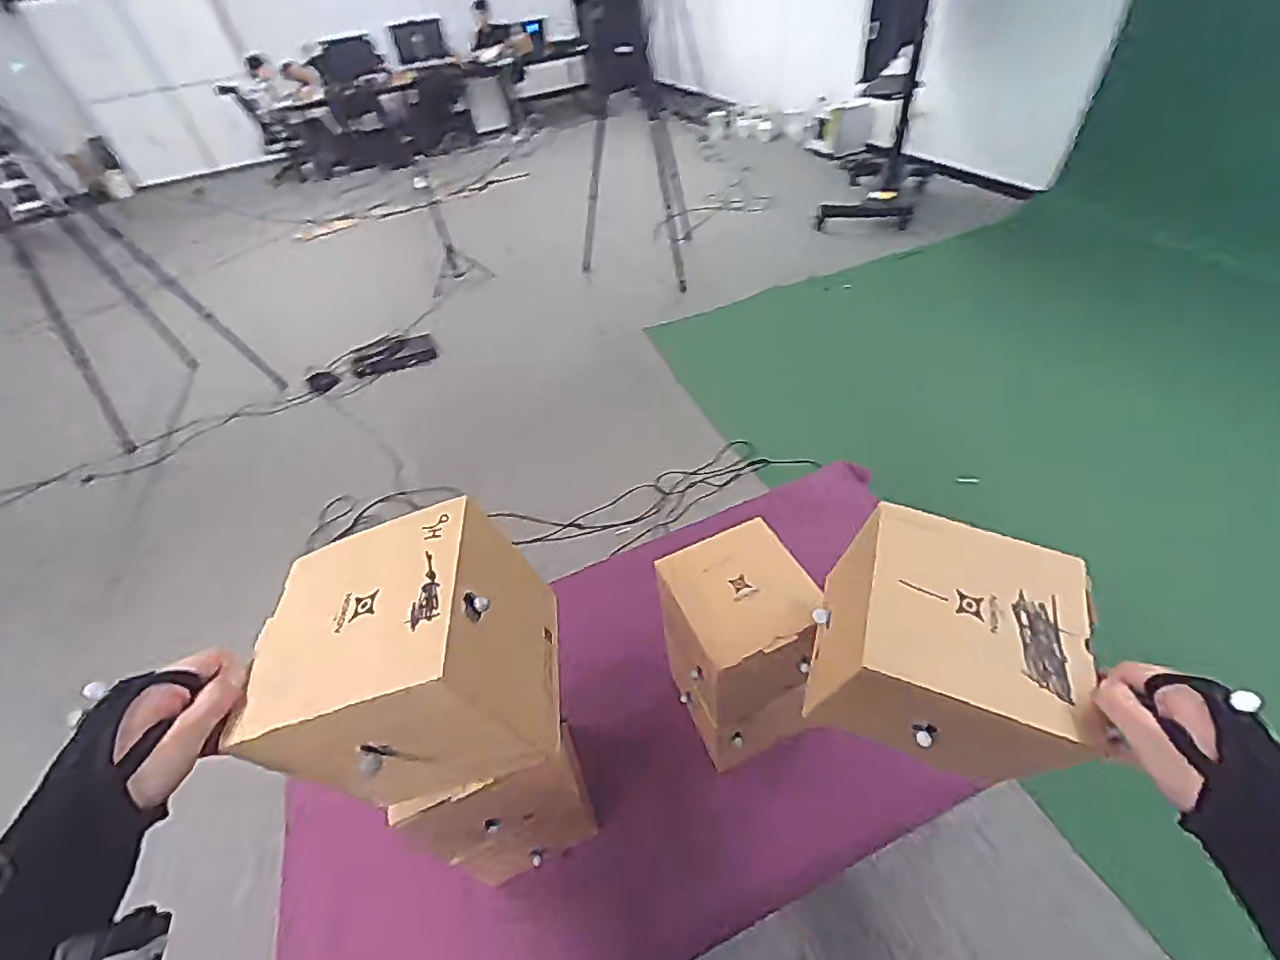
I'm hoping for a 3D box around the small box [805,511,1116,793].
[{"bbox_3d":[0.271,0.162,0.491,0.179,0.176,0.168,19,55,12],"label":"small box"}]

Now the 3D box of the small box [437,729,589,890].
[{"bbox_3d":[-0.183,0.432,0.760,0.168,0.176,0.179,-20,46,-12],"label":"small box"}]

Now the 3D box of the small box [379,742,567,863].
[{"bbox_3d":[-0.200,0.315,0.649,0.168,0.176,0.179,-21,47,-13],"label":"small box"}]

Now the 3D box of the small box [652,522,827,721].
[{"bbox_3d":[0.130,0.193,0.722,0.168,0.176,0.179,-20,45,-13],"label":"small box"}]

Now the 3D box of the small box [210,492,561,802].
[{"bbox_3d":[-0.182,0.145,0.450,0.179,0.176,0.168,-19,44,9],"label":"small box"}]
